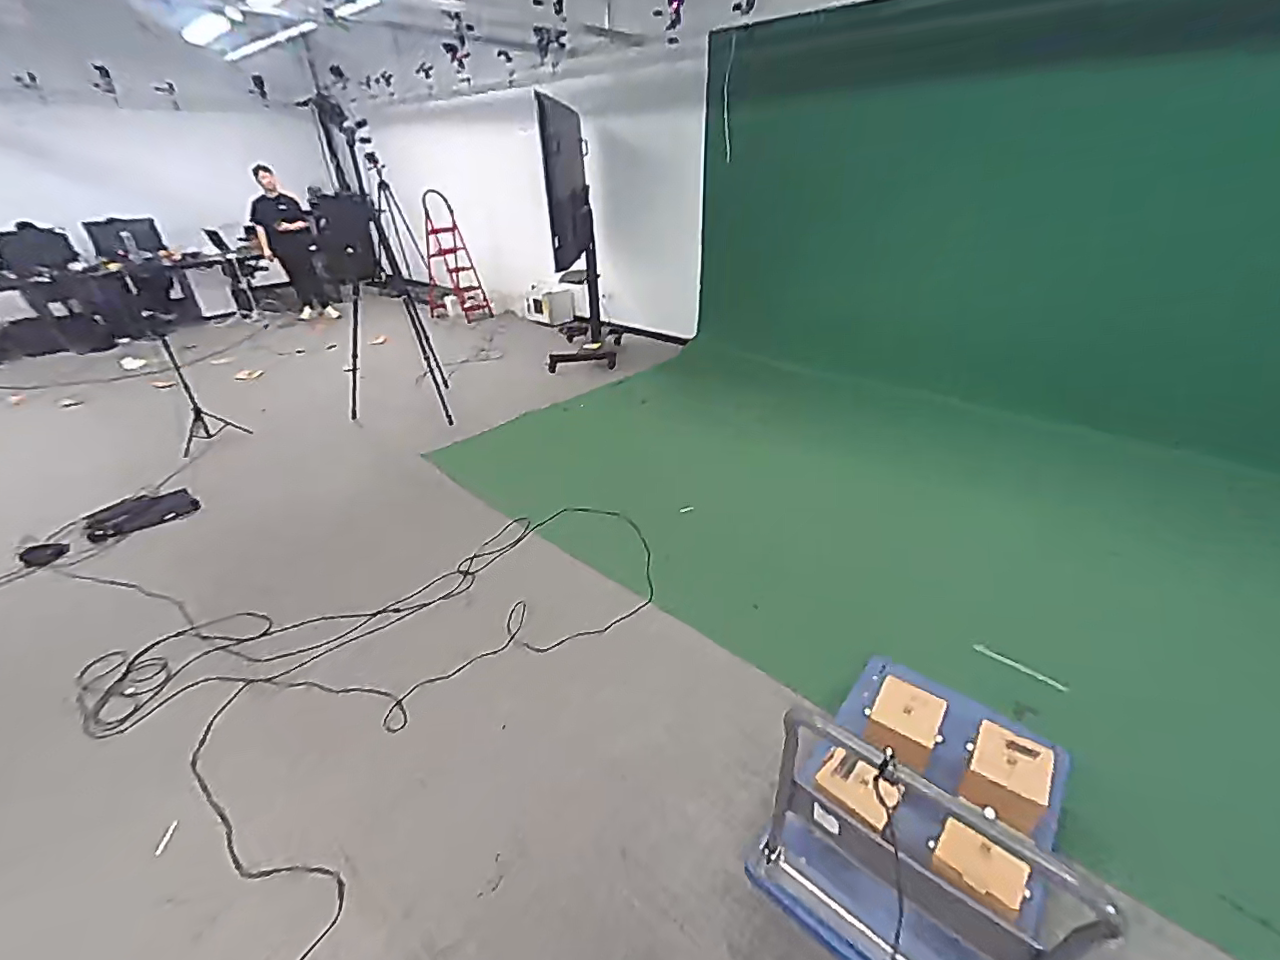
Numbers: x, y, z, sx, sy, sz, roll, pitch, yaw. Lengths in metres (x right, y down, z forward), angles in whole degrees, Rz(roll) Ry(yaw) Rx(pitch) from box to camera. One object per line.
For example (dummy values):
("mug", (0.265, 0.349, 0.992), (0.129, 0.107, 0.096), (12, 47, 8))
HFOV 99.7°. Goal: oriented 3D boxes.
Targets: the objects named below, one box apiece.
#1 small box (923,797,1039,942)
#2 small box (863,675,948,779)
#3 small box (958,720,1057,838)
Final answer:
("small box", (0.772, 0.887, 1.236), (0.168, 0.176, 0.179), (24, 41, 36))
("small box", (0.750, 0.704, 1.540), (0.168, 0.176, 0.179), (21, 38, 32))
("small box", (0.951, 0.776, 1.405), (0.168, 0.176, 0.179), (20, 38, 33))
